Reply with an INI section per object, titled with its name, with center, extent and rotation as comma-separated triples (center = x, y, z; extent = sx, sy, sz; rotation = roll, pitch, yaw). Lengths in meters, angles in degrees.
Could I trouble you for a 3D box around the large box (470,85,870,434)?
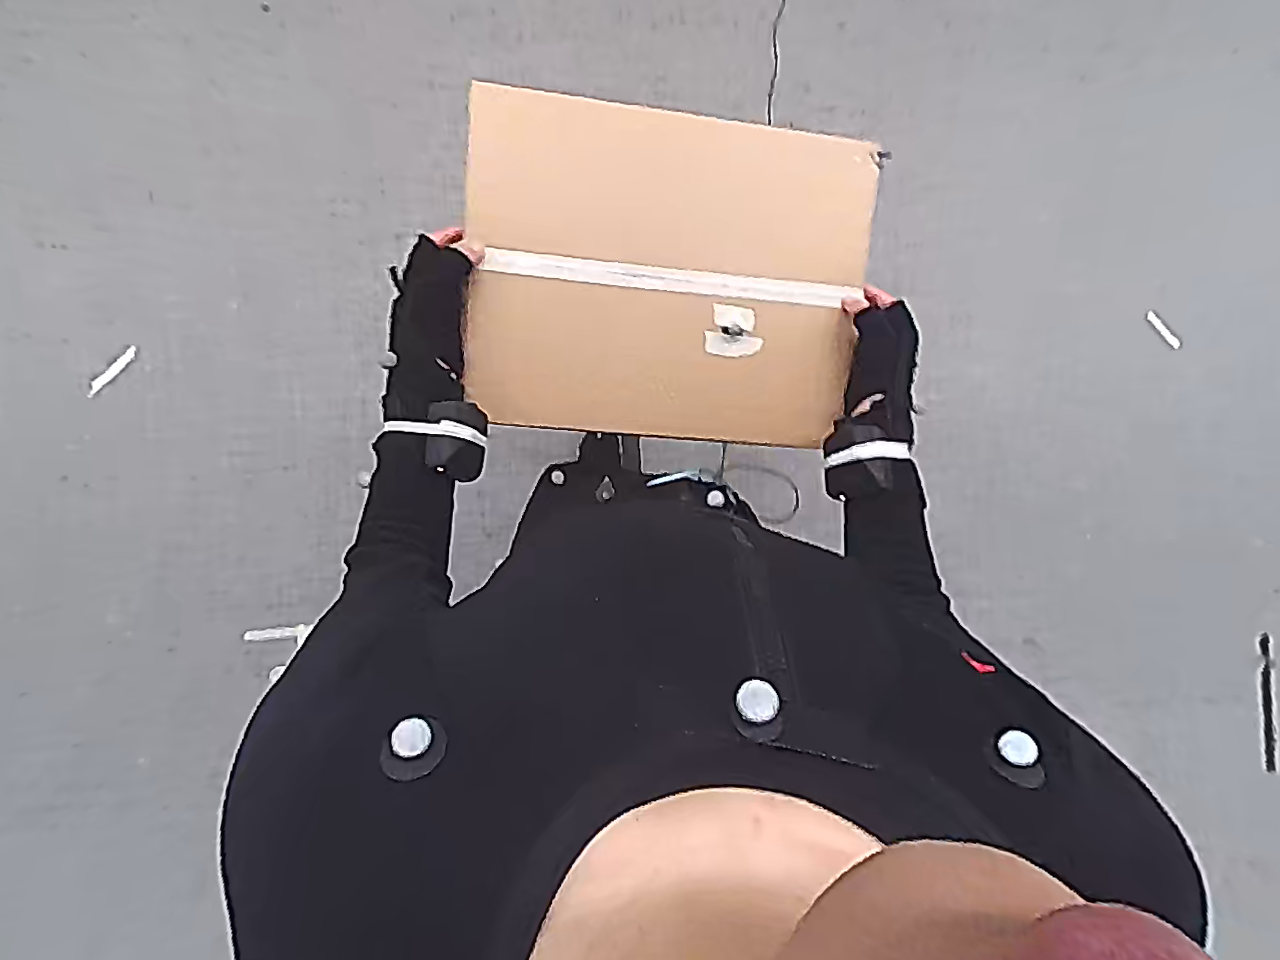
[large box]
center = 0.014, -0.233, 0.703
extent = 0.408, 0.320, 0.320
rotation = 5, 98, -8
